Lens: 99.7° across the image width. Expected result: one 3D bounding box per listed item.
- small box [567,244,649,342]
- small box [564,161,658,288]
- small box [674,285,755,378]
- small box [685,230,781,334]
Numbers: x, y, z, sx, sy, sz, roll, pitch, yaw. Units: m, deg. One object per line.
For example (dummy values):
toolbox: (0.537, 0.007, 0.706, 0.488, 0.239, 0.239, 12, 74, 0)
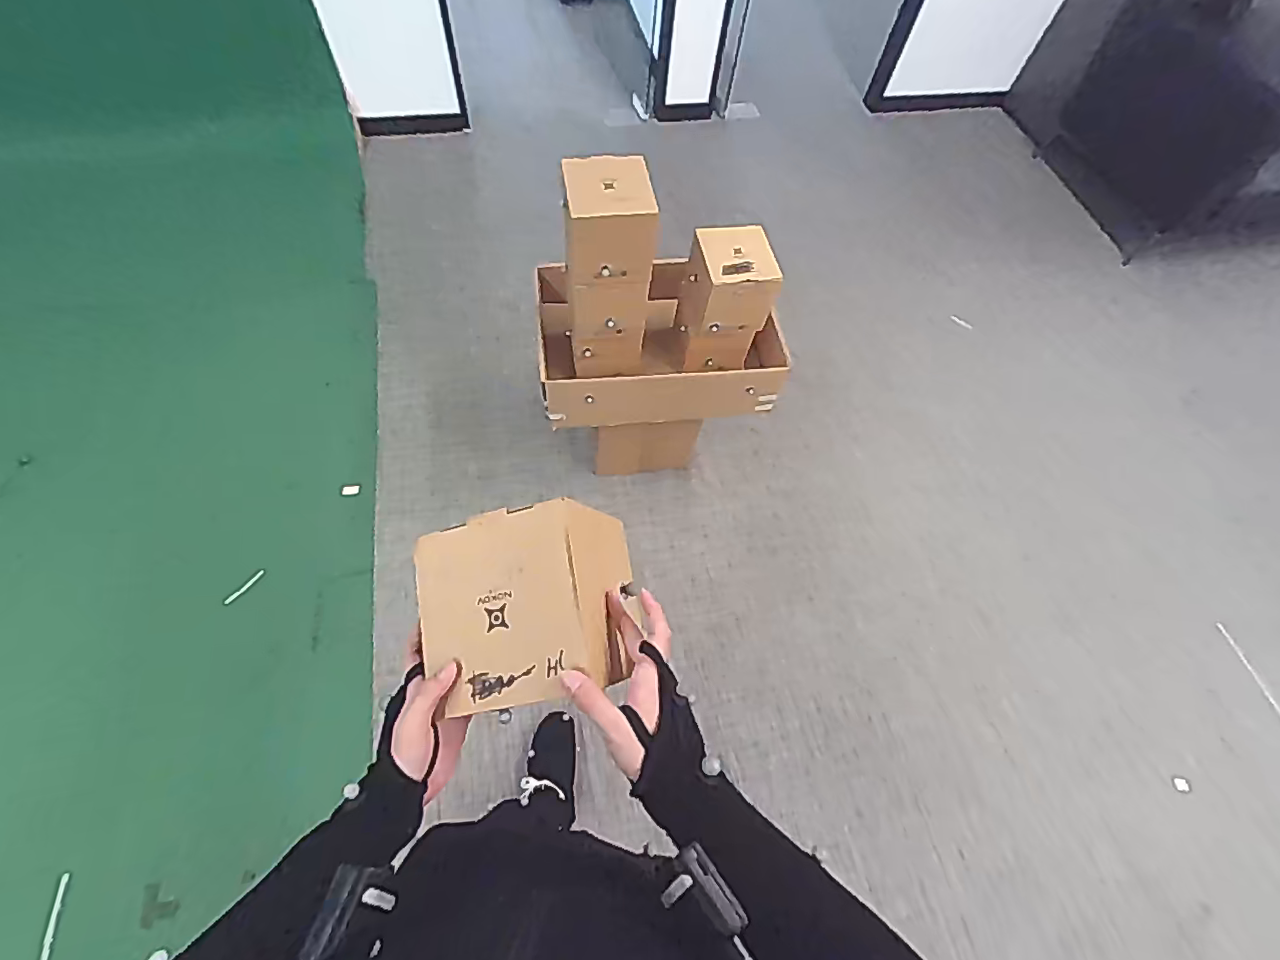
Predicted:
small box: (-0.080, -0.444, 1.248, 0.168, 0.176, 0.179, -7, 63, -9)
small box: (-0.064, -0.519, 1.104, 0.168, 0.176, 0.179, -6, 63, -8)
small box: (0.189, -0.393, 1.436, 0.168, 0.176, 0.179, -3, 63, -8)
small box: (0.213, -0.464, 1.290, 0.168, 0.176, 0.179, -7, 63, -10)
